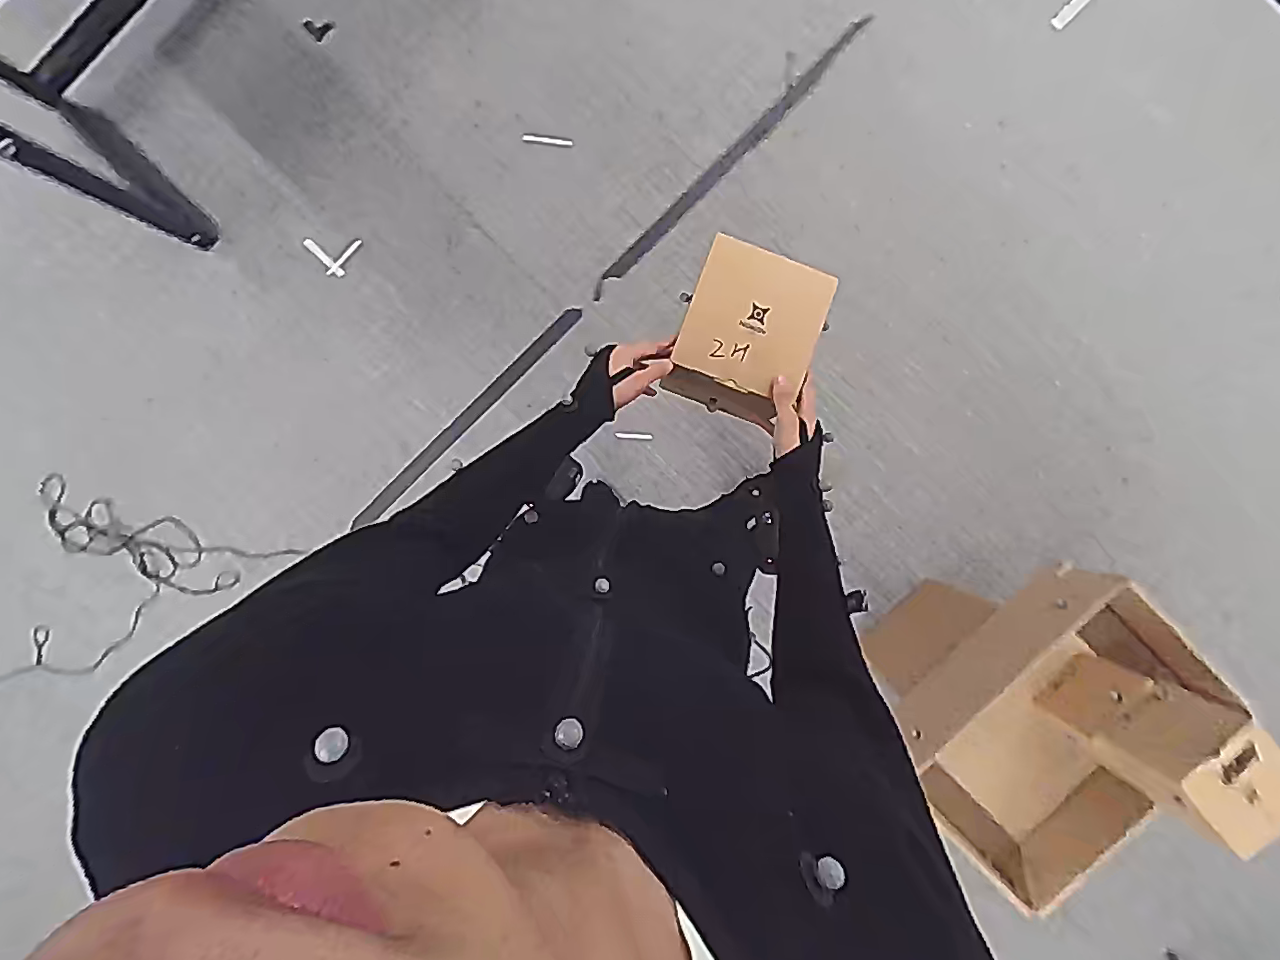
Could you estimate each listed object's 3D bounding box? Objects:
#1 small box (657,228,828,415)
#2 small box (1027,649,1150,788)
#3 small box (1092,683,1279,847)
[{"bbox_3d":[0.128,-0.204,0.748,0.168,0.176,0.179,19,89,-2],"label":"small box"},{"bbox_3d":[0.988,0.492,1.145,0.179,0.176,0.168,43,92,-2],"label":"small box"},{"bbox_3d":[0.990,0.497,0.980,0.168,0.176,0.179,-40,92,3],"label":"small box"}]
